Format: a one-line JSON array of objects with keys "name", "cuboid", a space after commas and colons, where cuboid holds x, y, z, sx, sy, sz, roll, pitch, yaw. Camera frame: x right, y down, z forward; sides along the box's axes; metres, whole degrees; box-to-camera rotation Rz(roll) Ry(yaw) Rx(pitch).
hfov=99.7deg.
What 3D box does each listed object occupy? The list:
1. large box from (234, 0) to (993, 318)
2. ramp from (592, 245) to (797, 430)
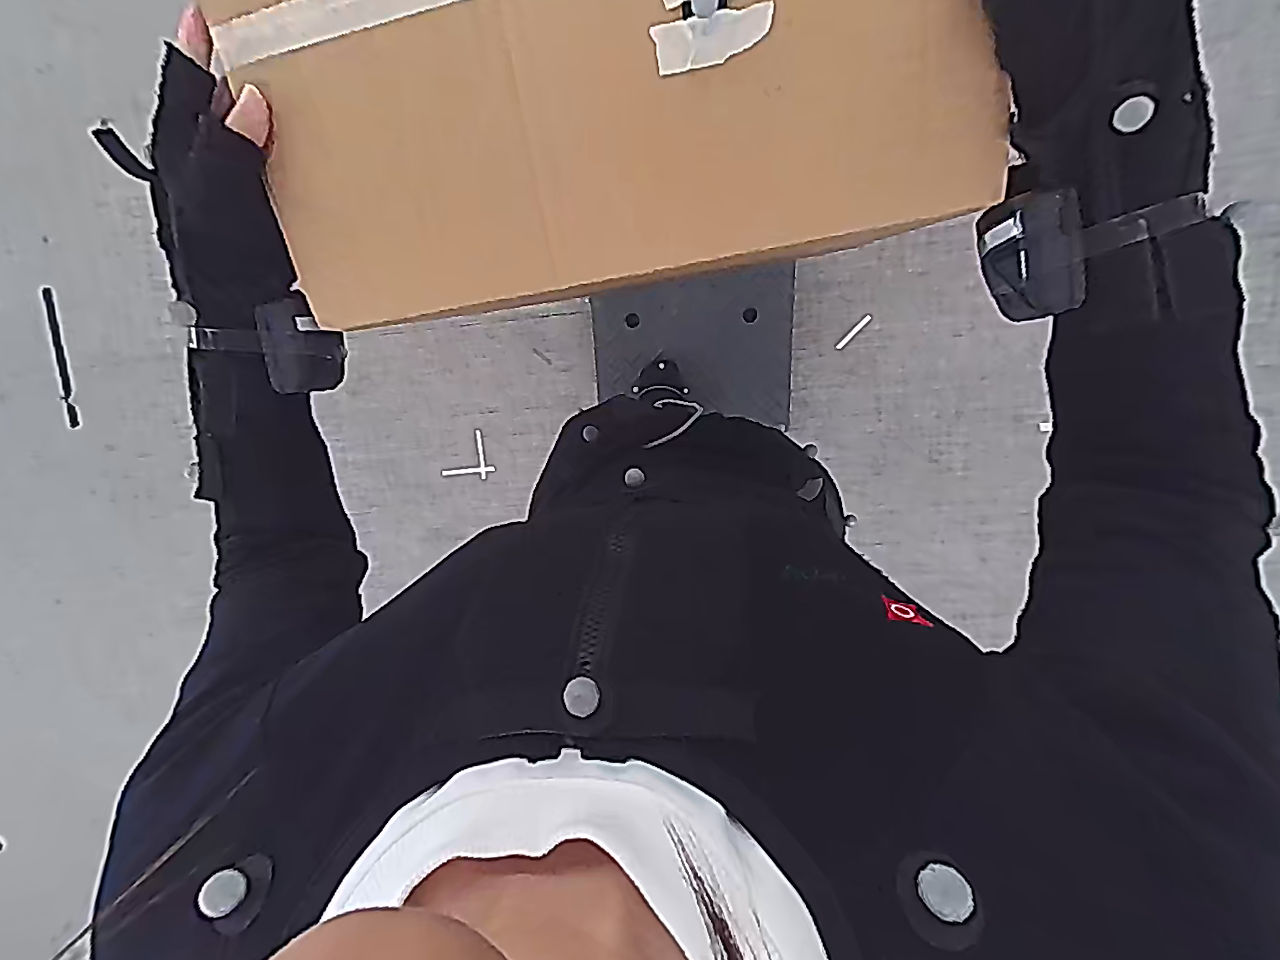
[{"name": "large box", "cuboid": [-0.016, -0.325, 0.416, 0.408, 0.320, 0.320, -7, 109, 11]}, {"name": "ramp", "cuboid": [0.117, -0.605, 1.249, 0.509, 0.206, 0.991, -3, 100, 6]}]
